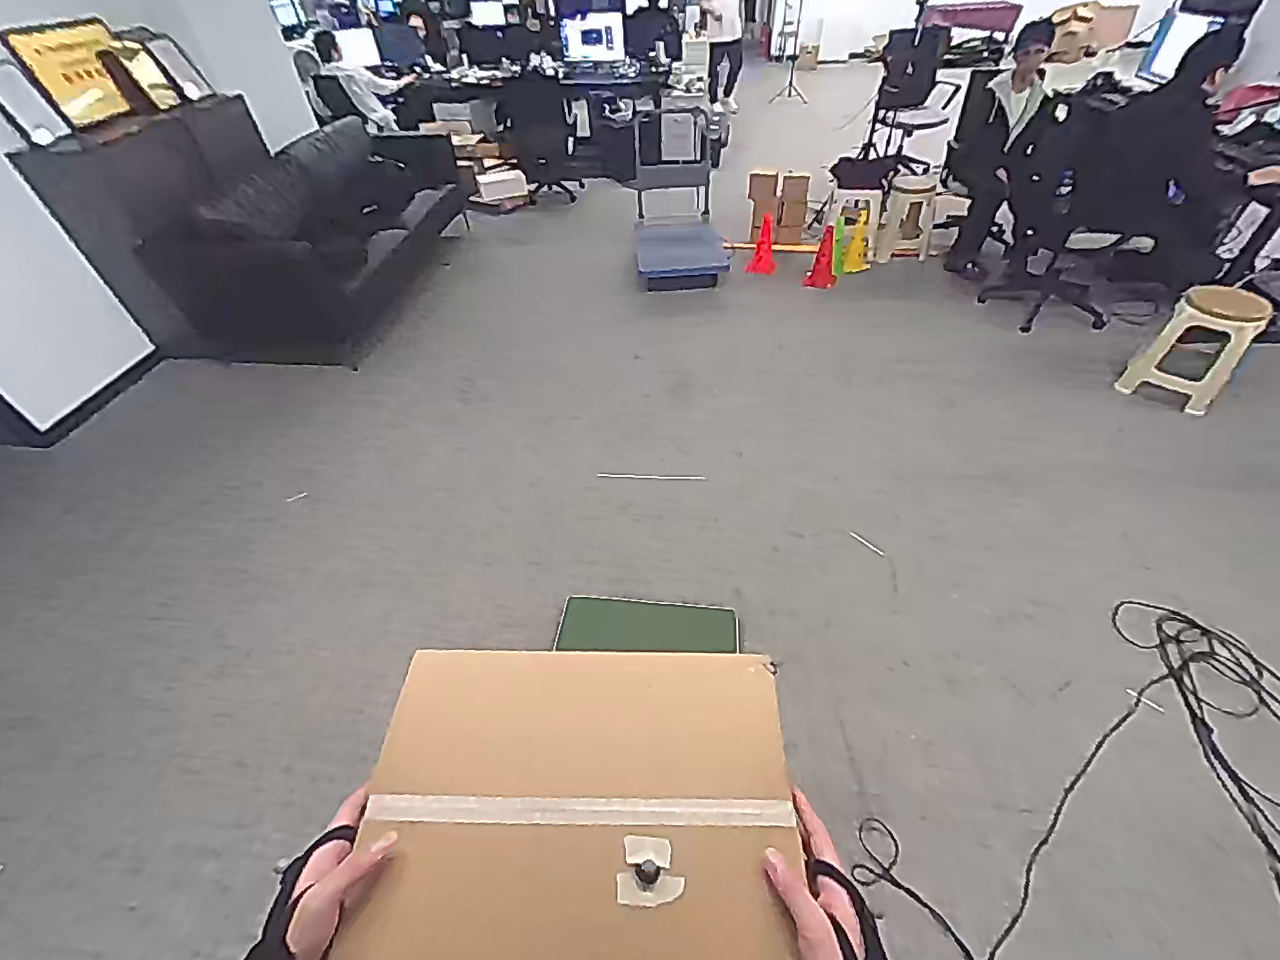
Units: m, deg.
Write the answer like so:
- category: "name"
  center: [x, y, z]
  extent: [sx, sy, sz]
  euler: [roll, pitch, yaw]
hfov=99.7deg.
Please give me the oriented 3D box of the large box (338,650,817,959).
- category: "large box"
  center: [-0.053, 0.412, 0.633]
  extent: [0.408, 0.320, 0.320]
  euler: [1, 48, 1]
